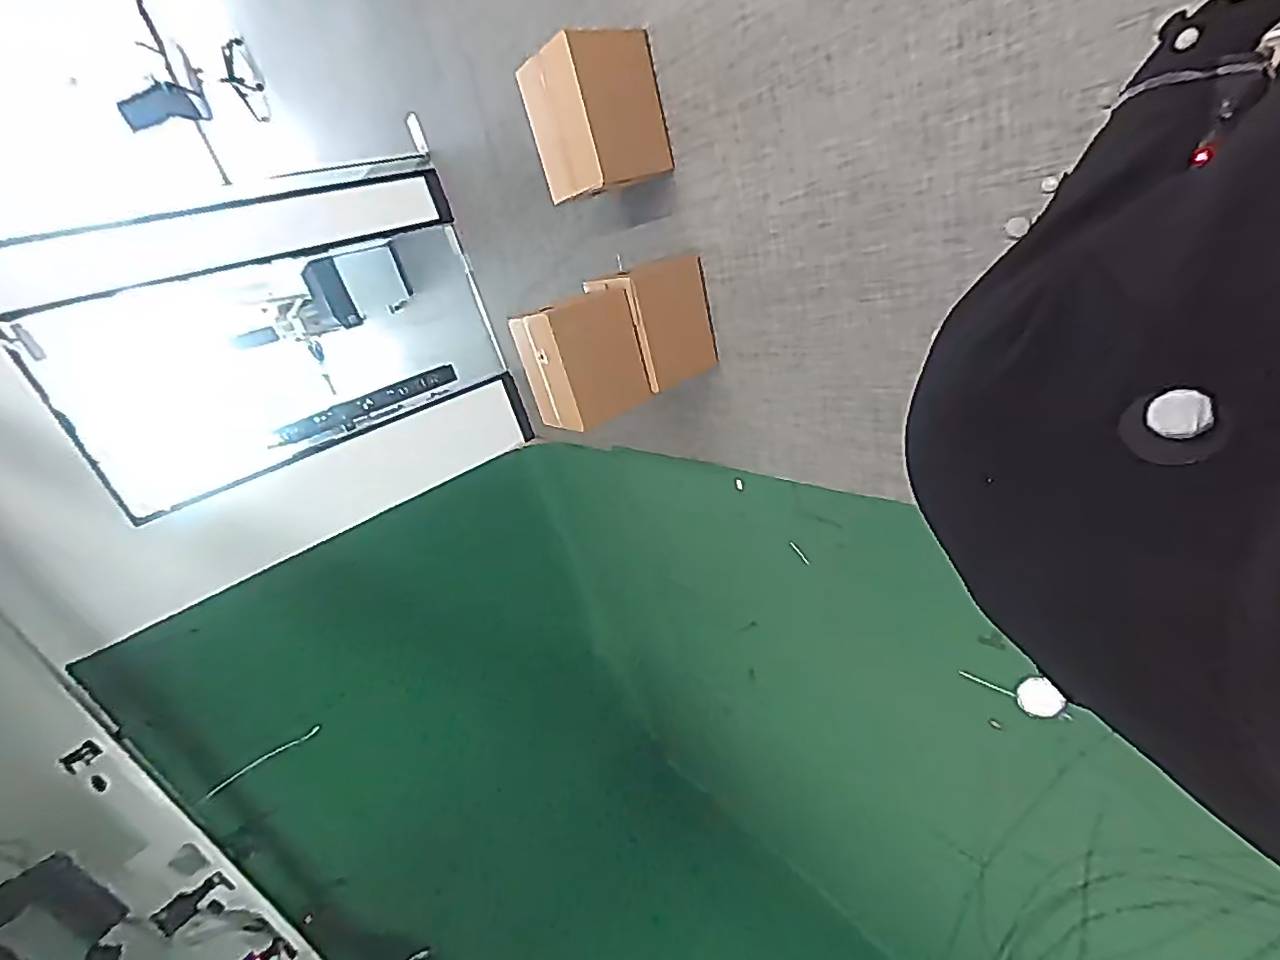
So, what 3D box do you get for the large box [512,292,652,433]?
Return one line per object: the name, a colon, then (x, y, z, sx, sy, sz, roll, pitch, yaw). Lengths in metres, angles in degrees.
large box: (-0.200, -0.420, 1.930, 0.320, 0.320, 0.408, 18, 129, 52)
